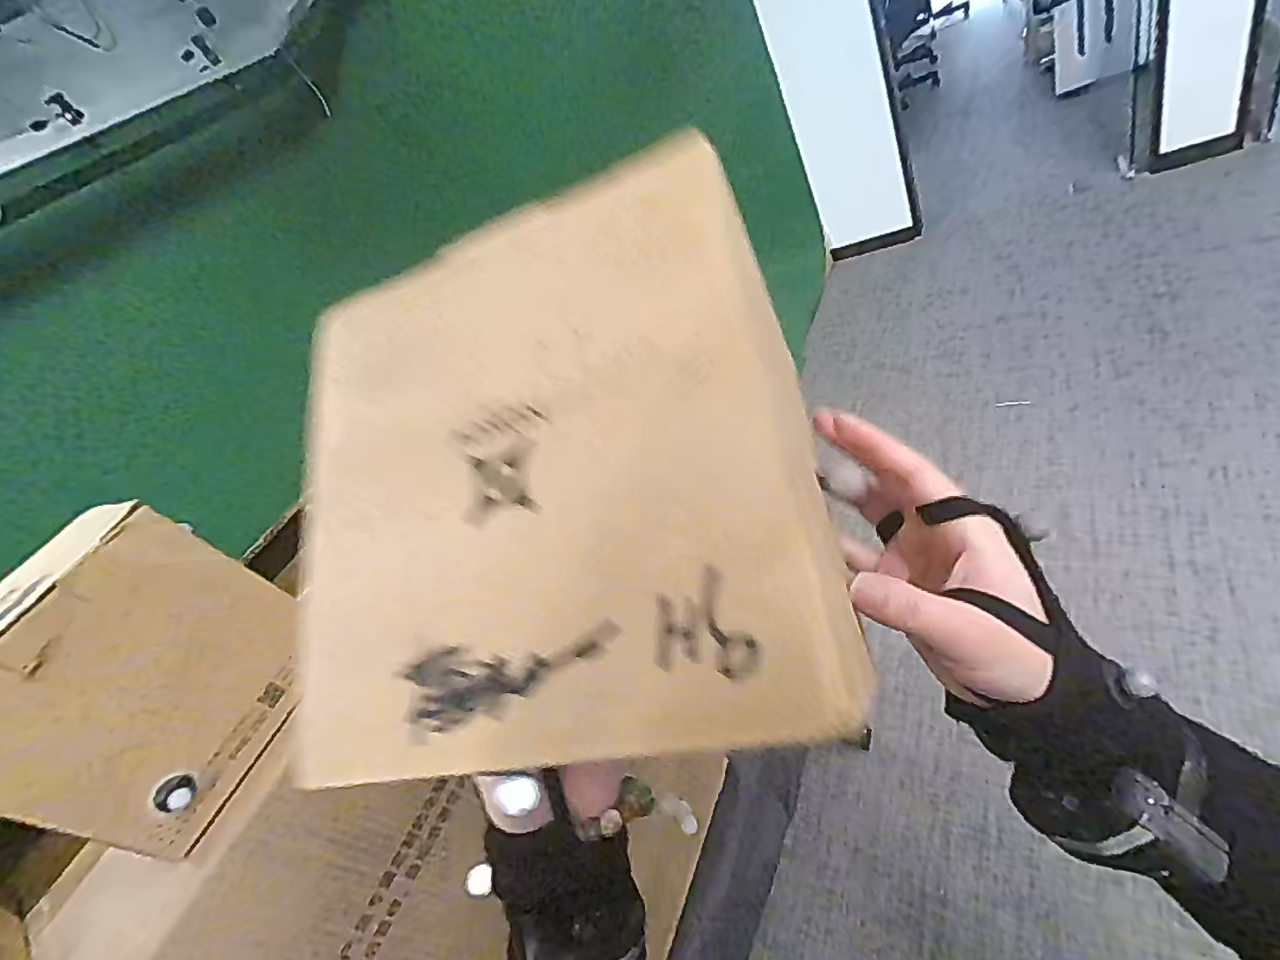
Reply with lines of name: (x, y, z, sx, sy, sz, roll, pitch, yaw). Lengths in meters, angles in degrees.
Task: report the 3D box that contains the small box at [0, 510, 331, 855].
small box: (-0.370, 0.138, 0.388, 0.179, 0.176, 0.168, -5, 44, 36)
